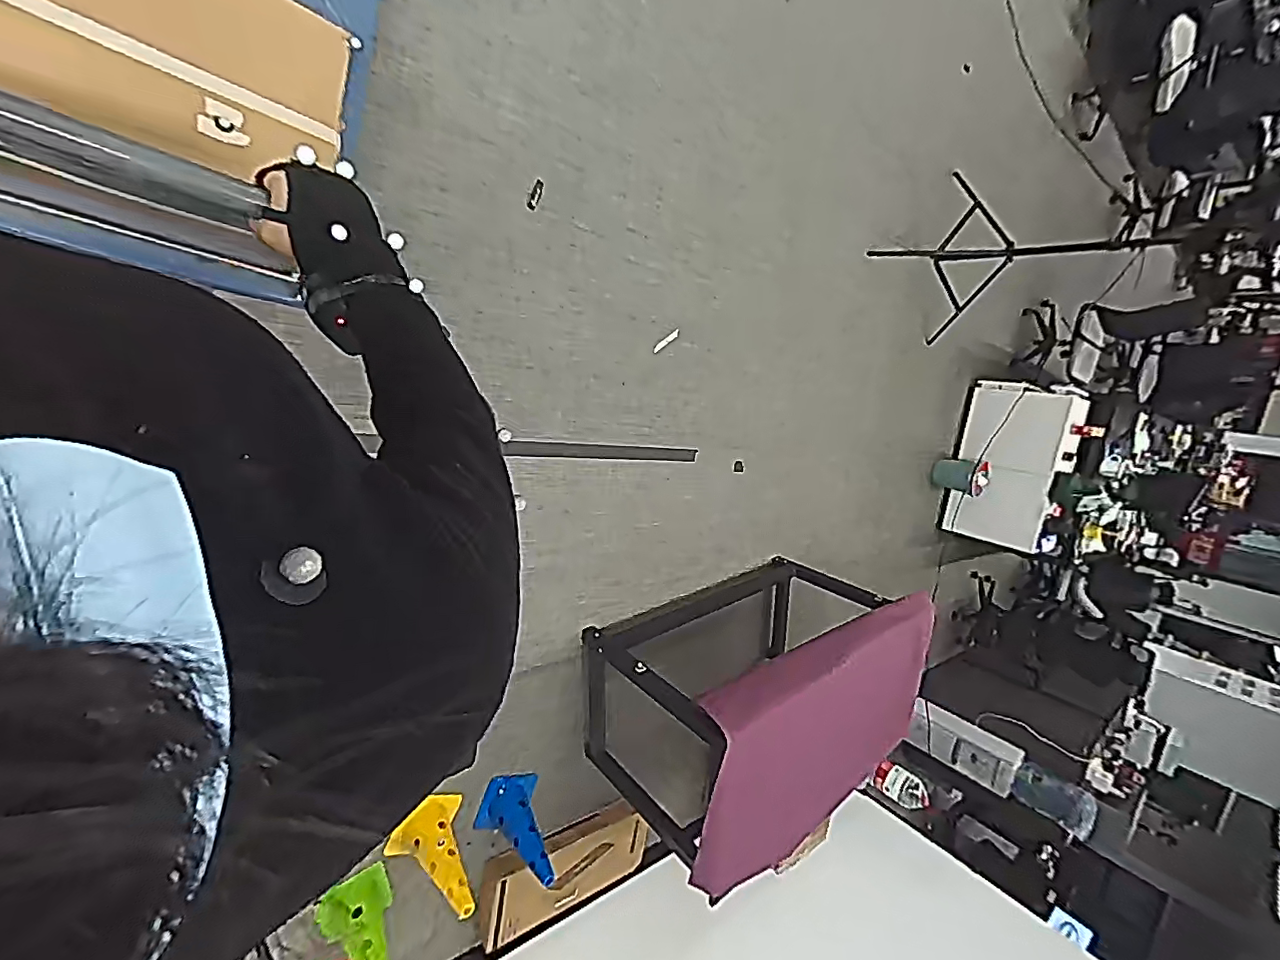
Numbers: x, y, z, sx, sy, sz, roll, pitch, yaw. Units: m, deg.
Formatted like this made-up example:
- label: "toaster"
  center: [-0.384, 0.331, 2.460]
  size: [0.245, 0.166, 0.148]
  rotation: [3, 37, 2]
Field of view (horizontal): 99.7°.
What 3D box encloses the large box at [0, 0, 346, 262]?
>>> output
- label: "large box"
  center: [-0.719, -0.562, 0.815]
  size: [0.408, 0.320, 0.320]
  rotation: [7, 98, -42]
